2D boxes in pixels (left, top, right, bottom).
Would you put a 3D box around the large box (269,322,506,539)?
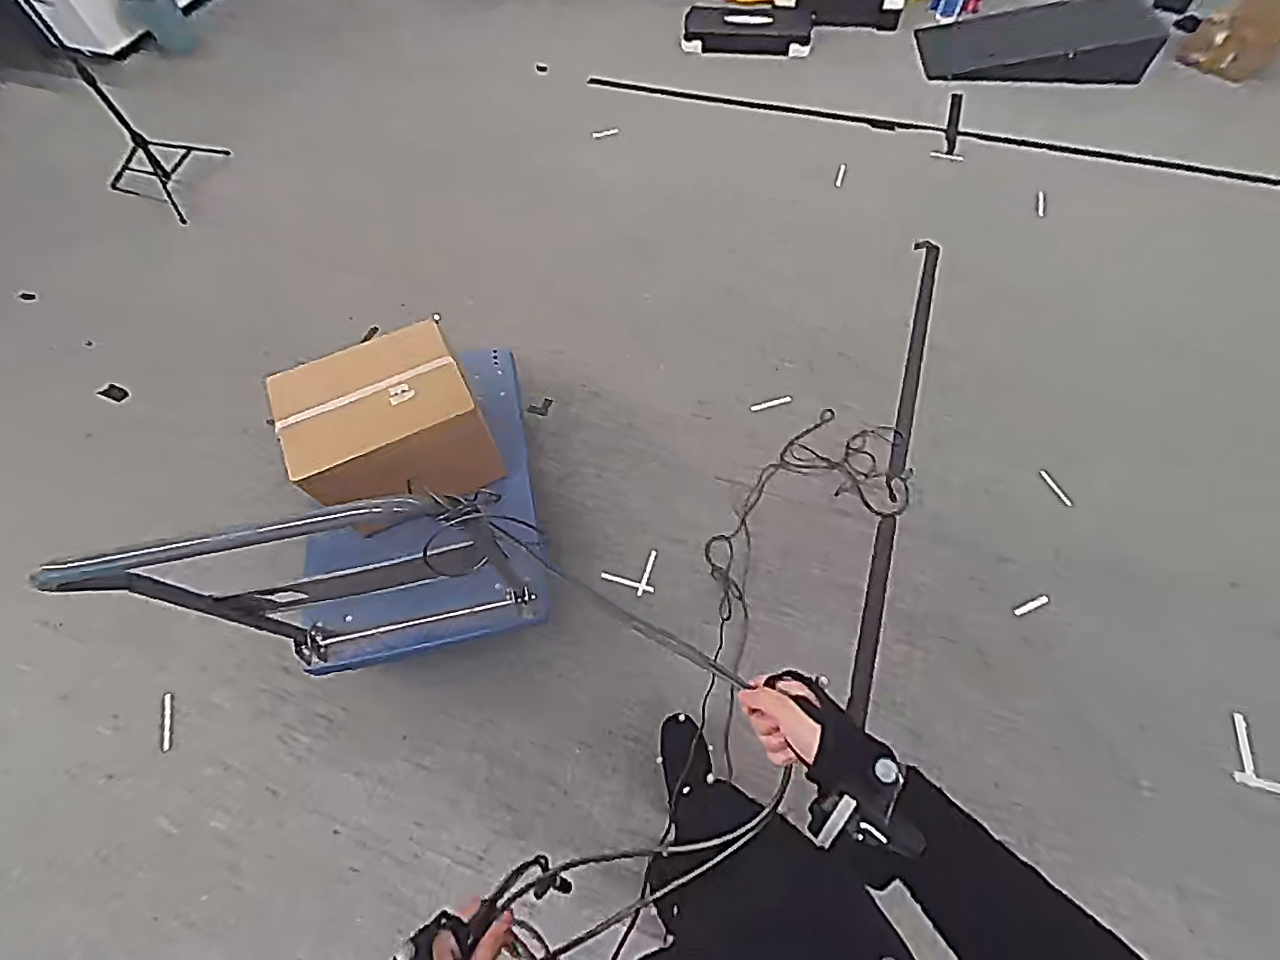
[{"bbox_3d":[-0.603,-0.115,1.341,0.408,0.320,0.320,-25,65,-12],"label":"large box"}]
